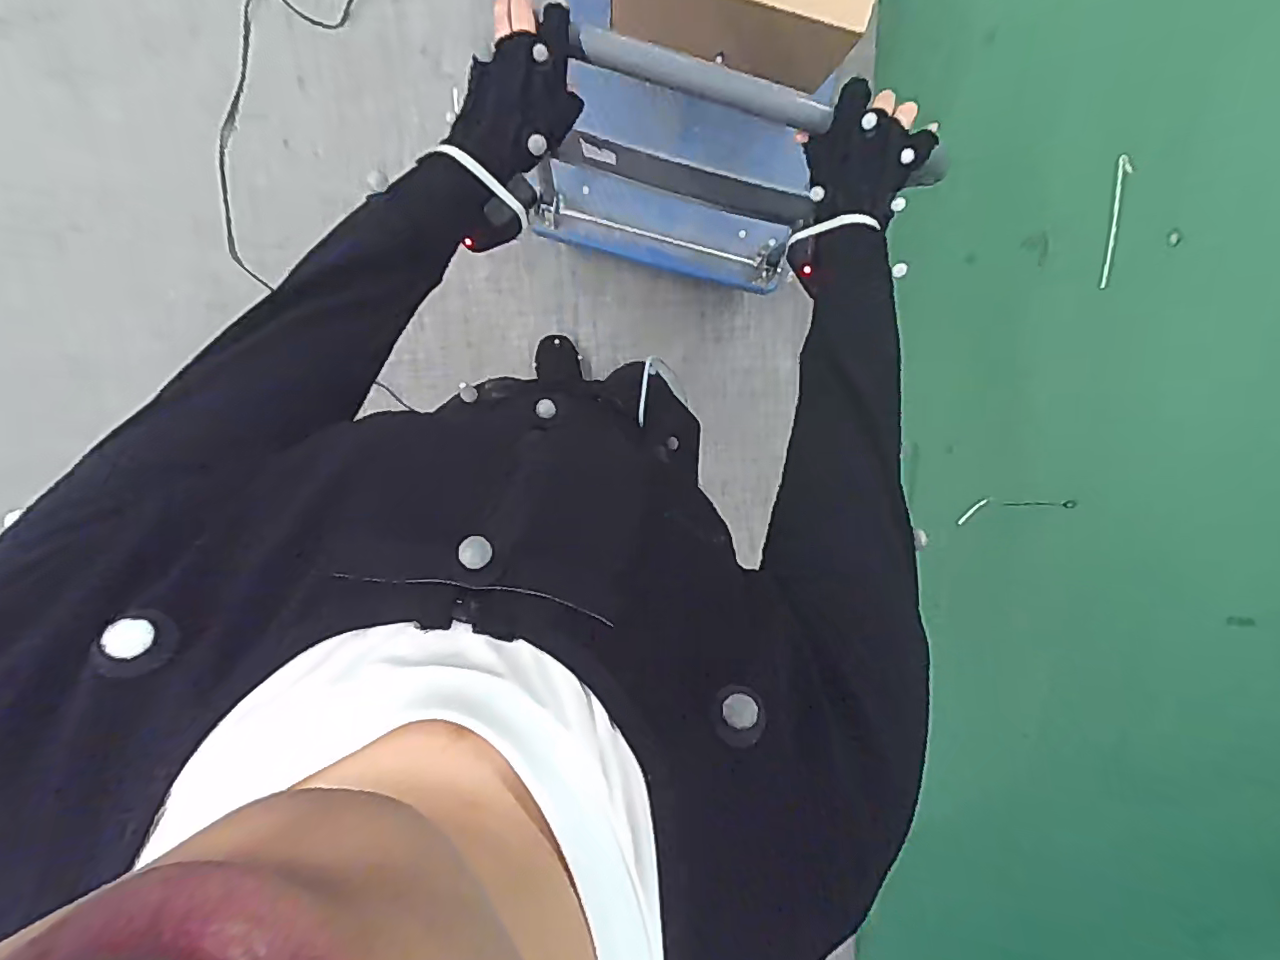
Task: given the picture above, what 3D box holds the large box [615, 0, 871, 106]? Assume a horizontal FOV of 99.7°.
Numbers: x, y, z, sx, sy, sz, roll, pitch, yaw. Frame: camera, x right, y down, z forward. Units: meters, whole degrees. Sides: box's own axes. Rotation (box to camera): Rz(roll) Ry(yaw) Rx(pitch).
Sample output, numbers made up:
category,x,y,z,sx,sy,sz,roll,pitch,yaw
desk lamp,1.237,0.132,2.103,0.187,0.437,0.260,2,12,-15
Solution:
category,x,y,z,sx,sy,sz,roll,pitch,yaw
large box,0.182,-0.923,0.940,0.408,0.320,0.320,11,103,-6
